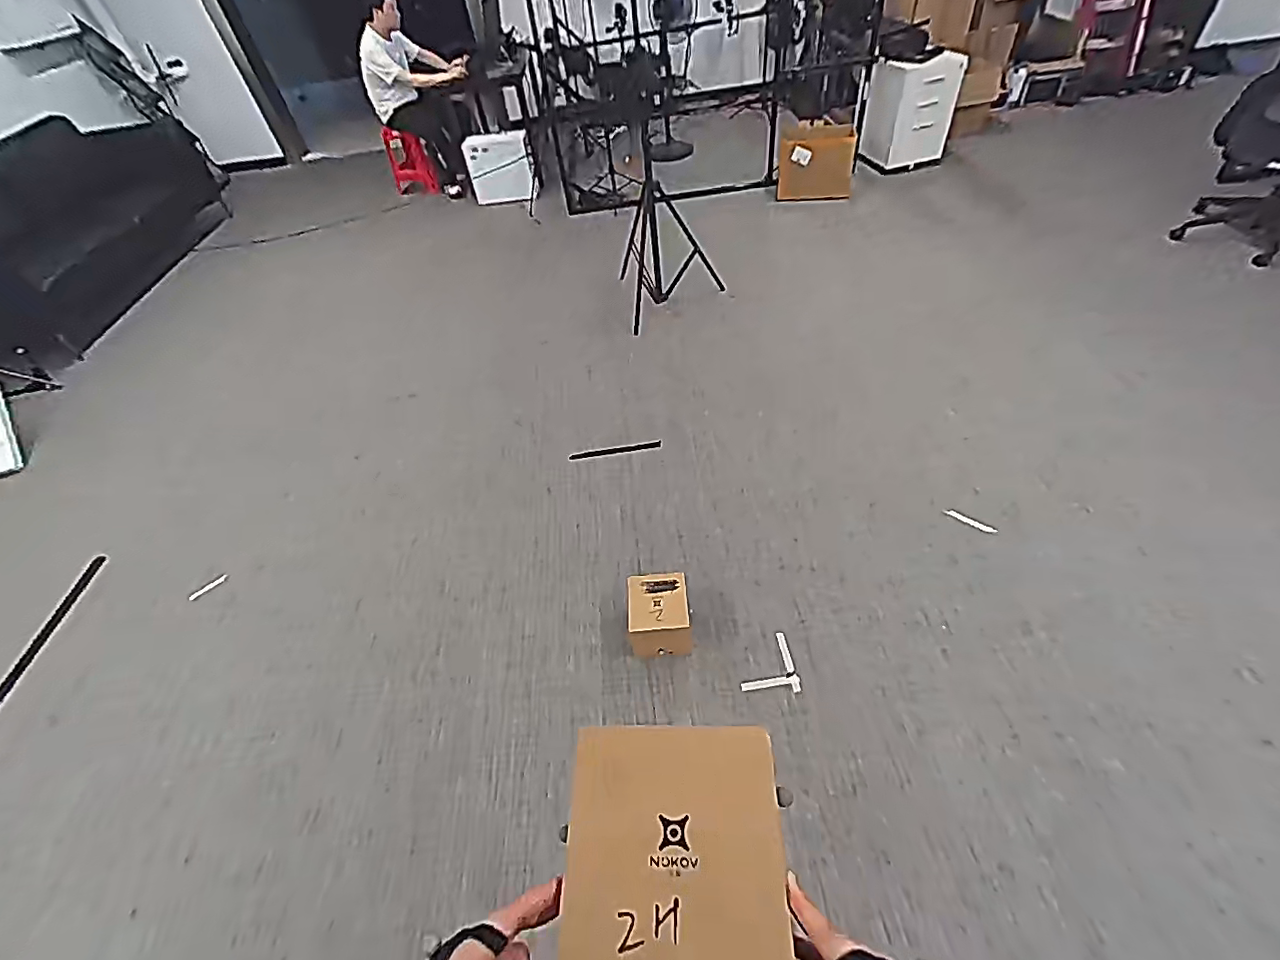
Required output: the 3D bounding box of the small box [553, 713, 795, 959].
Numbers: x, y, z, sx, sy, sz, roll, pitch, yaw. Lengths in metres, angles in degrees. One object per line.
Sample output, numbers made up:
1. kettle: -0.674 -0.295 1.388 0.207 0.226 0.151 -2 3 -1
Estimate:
1. small box: 0.032 0.321 0.471 0.168 0.176 0.179 -2 49 6
